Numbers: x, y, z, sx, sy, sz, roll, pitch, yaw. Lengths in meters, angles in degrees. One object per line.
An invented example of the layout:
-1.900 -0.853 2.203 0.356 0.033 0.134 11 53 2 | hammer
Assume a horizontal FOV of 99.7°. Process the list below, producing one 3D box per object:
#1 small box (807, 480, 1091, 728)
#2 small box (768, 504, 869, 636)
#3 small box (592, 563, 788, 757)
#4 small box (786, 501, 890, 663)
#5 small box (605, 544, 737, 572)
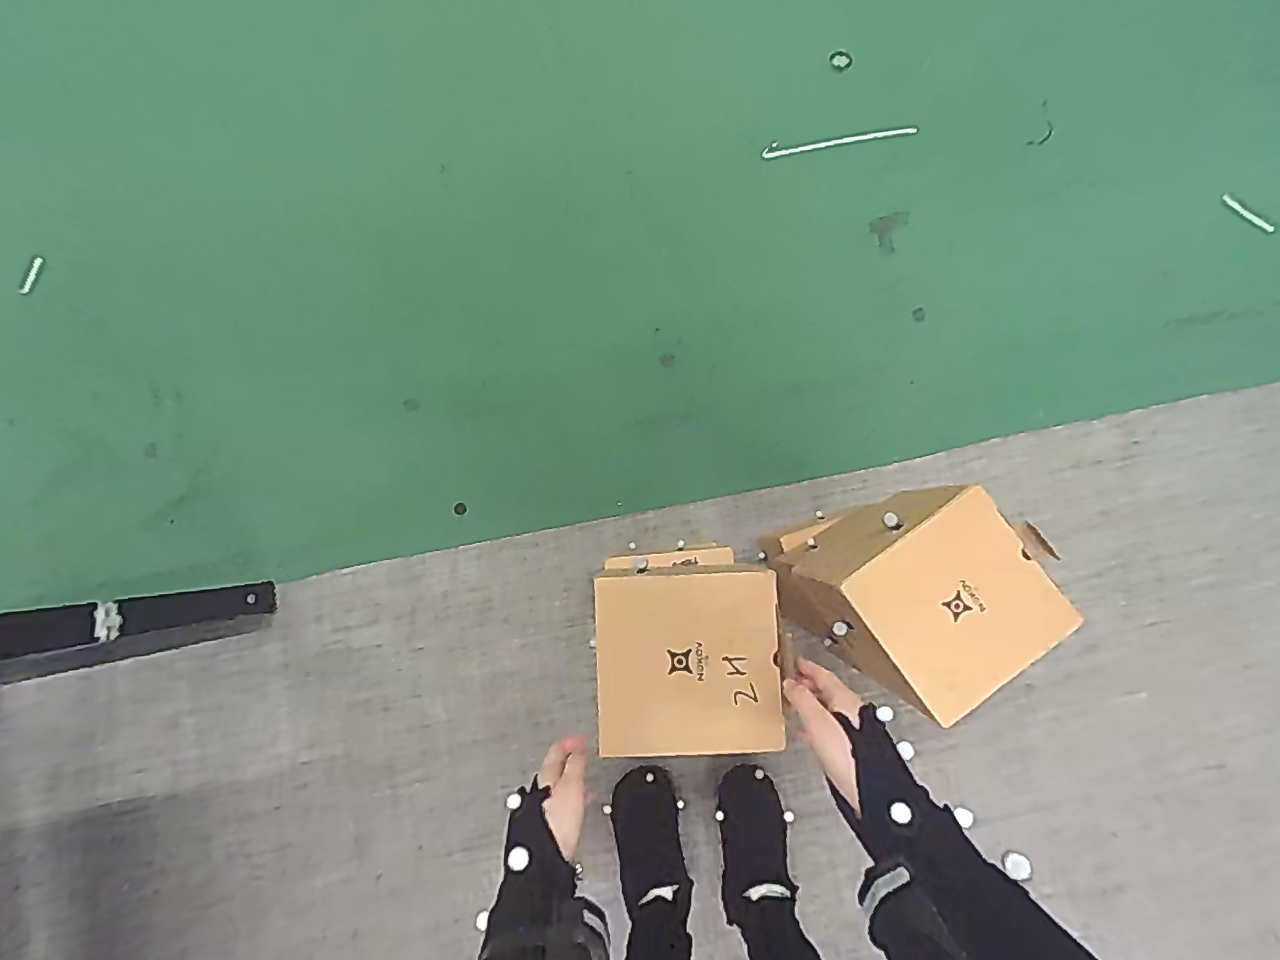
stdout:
0.304 0.122 0.582 0.179 0.176 0.168 -36 86 -4 | small box
0.328 0.145 0.906 0.179 0.176 0.168 -18 85 -2 | small box
0.047 0.176 0.573 0.179 0.176 0.168 -2 84 1 | small box
0.321 0.140 0.744 0.179 0.176 0.168 -31 86 -4 | small box
0.046 0.183 0.739 0.168 0.176 0.179 -5 84 1 | small box
